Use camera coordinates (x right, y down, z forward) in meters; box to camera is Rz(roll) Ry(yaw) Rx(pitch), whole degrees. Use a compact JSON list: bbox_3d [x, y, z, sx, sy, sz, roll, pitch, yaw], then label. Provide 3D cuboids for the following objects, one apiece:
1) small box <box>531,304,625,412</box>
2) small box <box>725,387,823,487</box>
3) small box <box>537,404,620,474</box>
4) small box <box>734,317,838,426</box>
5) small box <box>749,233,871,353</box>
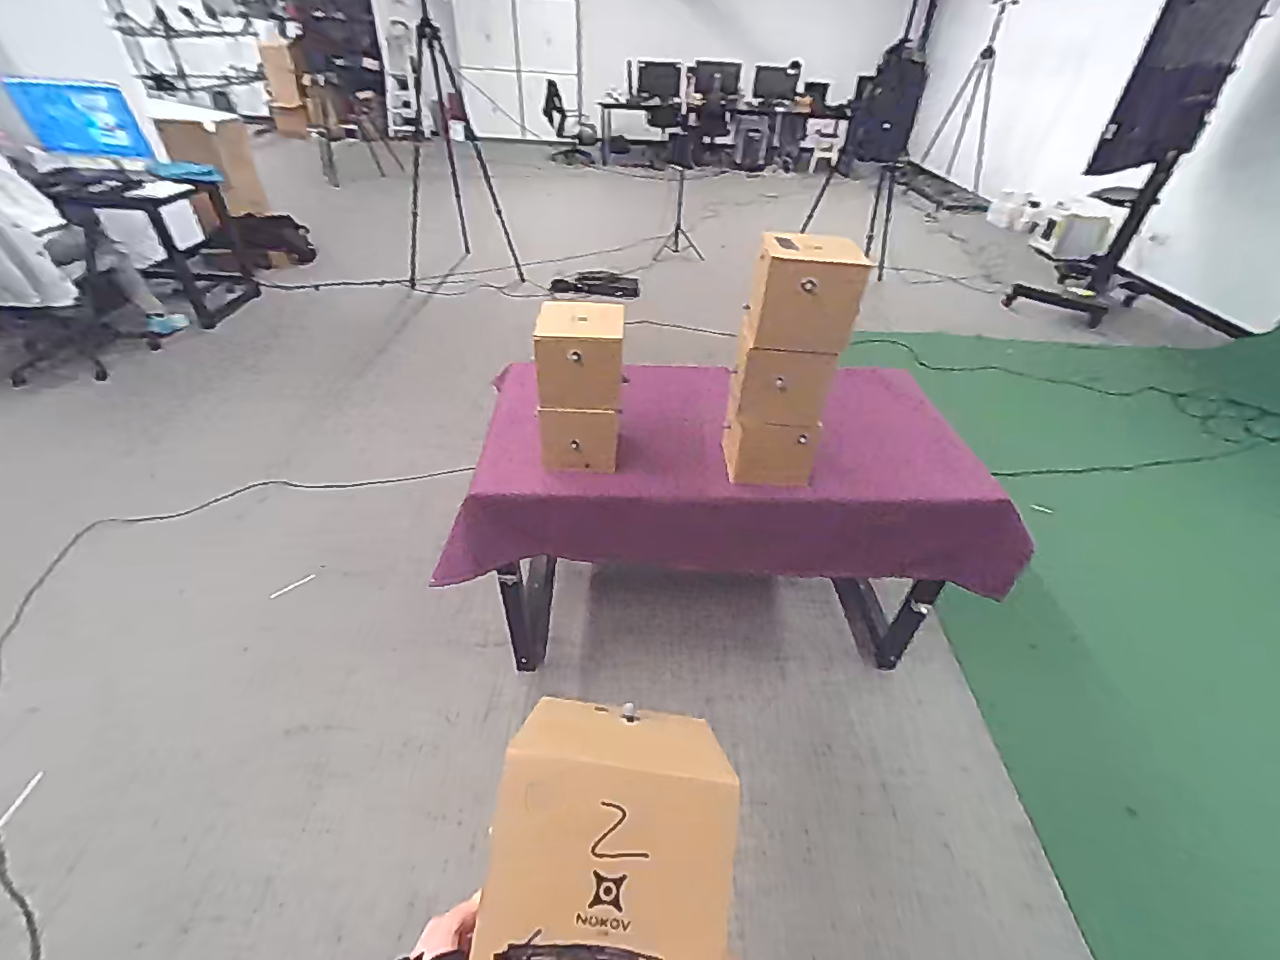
[{"bbox_3d":[-0.123,-0.256,1.140,0.179,0.176,0.168,2,41,-1],"label":"small box"},{"bbox_3d":[0.293,-0.098,1.229,0.179,0.176,0.168,2,39,-1],"label":"small box"},{"bbox_3d":[-0.134,-0.130,1.243,0.168,0.176,0.179,3,39,0],"label":"small box"},{"bbox_3d":[0.291,-0.226,1.125,0.179,0.176,0.168,4,40,2],"label":"small box"},{"bbox_3d":[0.306,-0.352,1.020,0.179,0.176,0.168,5,39,1],"label":"small box"}]
